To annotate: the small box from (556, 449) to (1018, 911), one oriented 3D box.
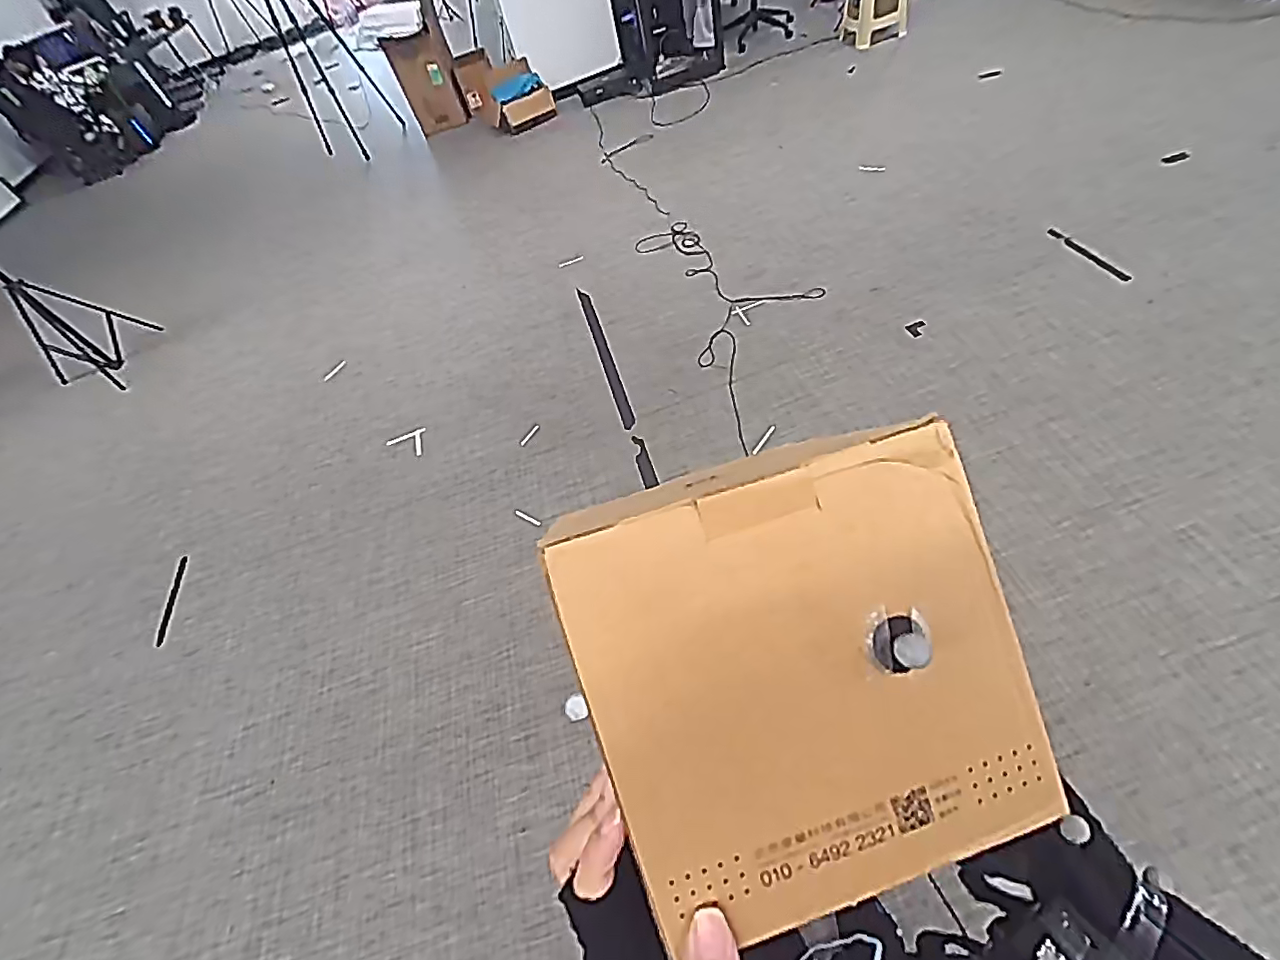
[{"bbox_3d":[0.062,0.091,0.304,0.168,0.179,0.176,-18,91,-4],"label":"small box"}]
